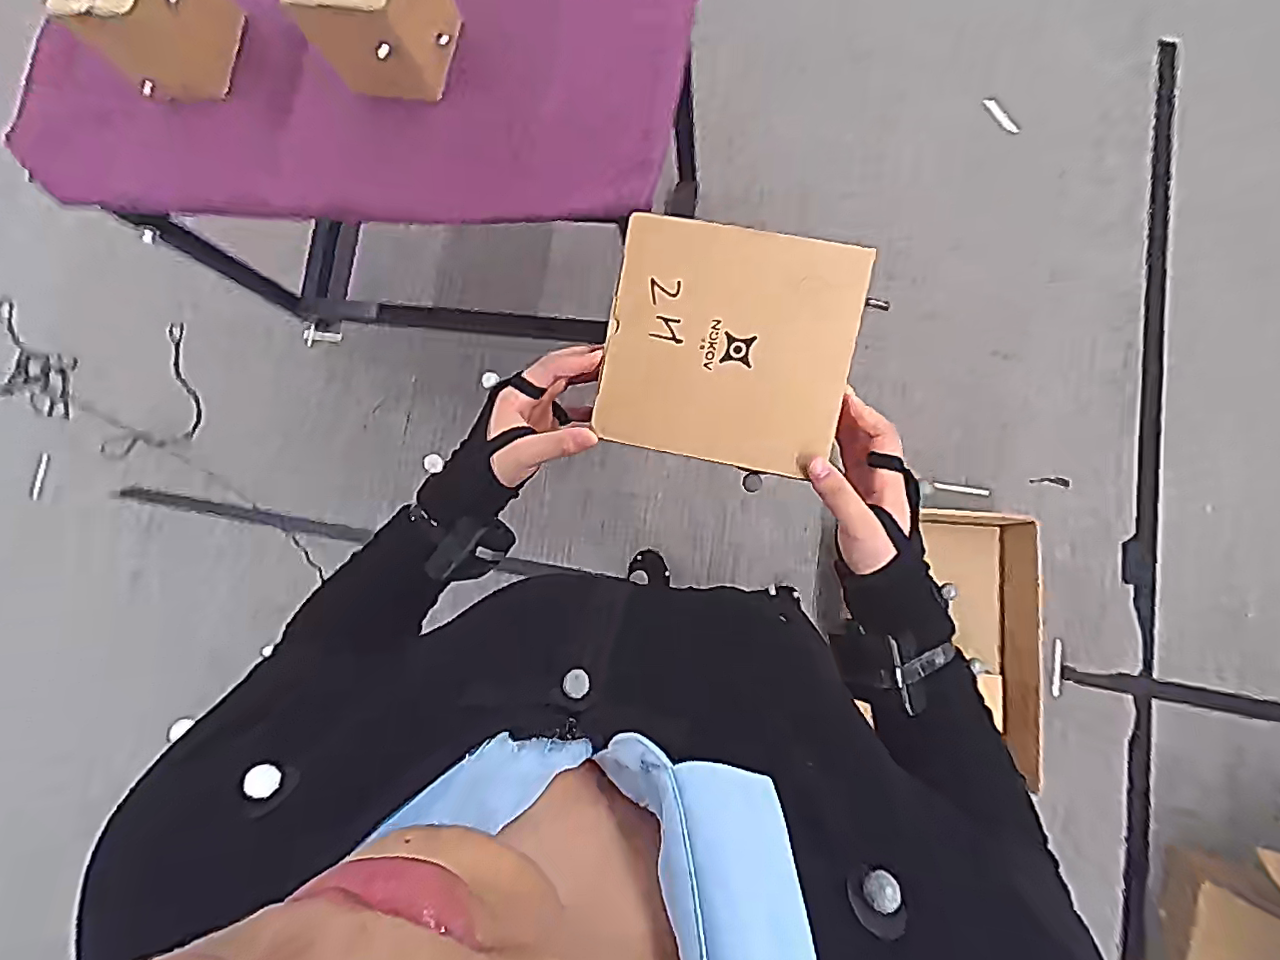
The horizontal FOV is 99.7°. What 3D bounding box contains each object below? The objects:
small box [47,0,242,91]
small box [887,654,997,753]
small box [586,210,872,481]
[{"bbox_3d":[-0.834,-0.813,0.929,0.168,0.176,0.179,8,84,8],"label":"small box"},{"bbox_3d":[0.695,0.510,1.256,0.179,0.176,0.168,4,83,8],"label":"small box"},{"bbox_3d":[0.068,-0.101,0.462,0.179,0.176,0.168,12,94,6],"label":"small box"}]
